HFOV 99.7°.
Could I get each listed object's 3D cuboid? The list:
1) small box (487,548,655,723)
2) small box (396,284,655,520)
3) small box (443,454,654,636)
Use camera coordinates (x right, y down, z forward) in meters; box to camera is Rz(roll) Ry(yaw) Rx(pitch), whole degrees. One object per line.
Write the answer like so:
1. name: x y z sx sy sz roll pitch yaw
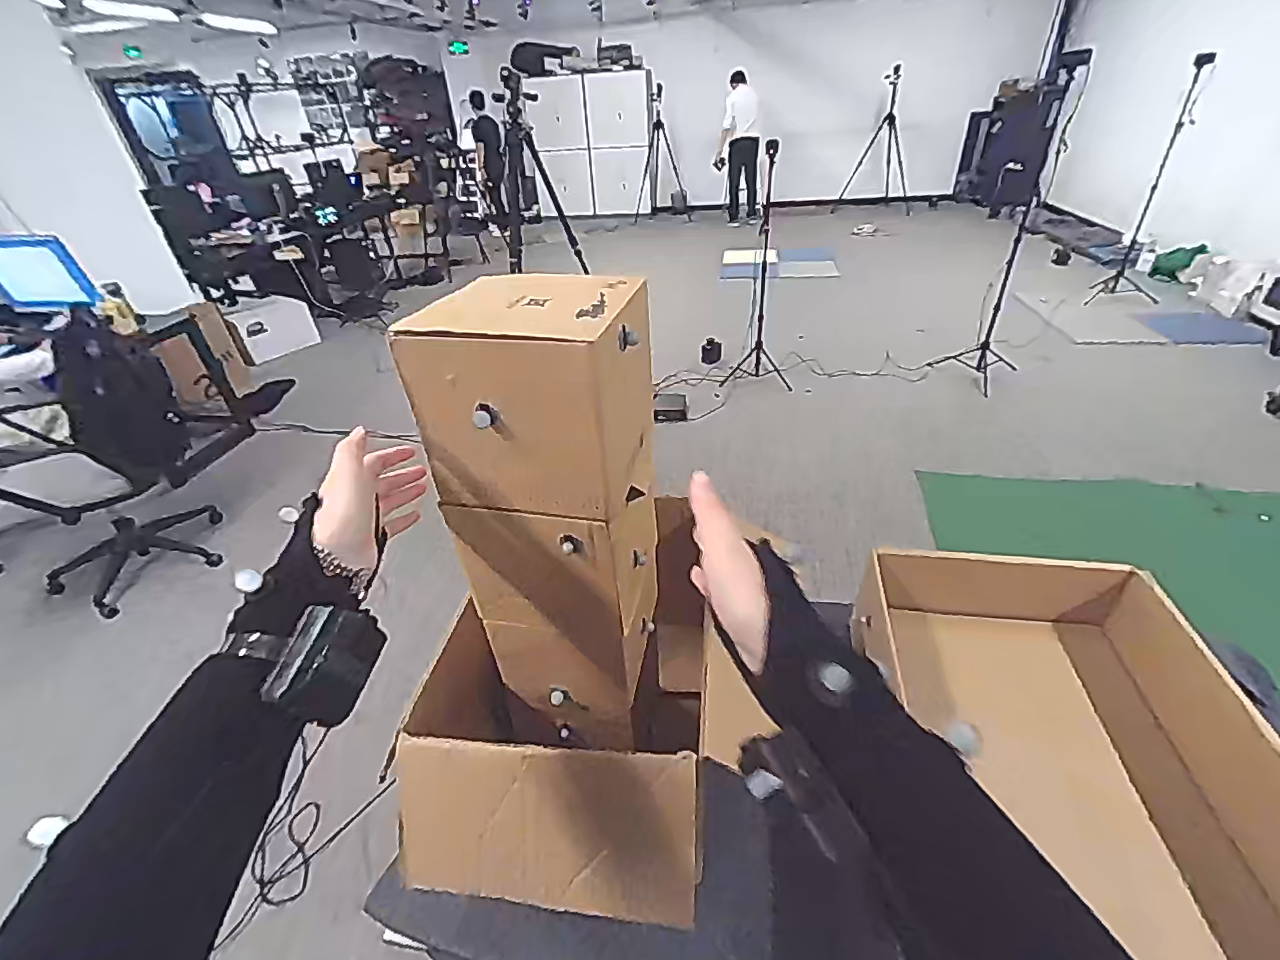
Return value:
1. small box: -0.075 0.184 0.710 0.168 0.176 0.179 5 38 12
2. small box: -0.088 -0.079 0.517 0.179 0.176 0.168 6 37 13
3. small box: -0.087 0.054 0.613 0.179 0.176 0.168 6 37 12
